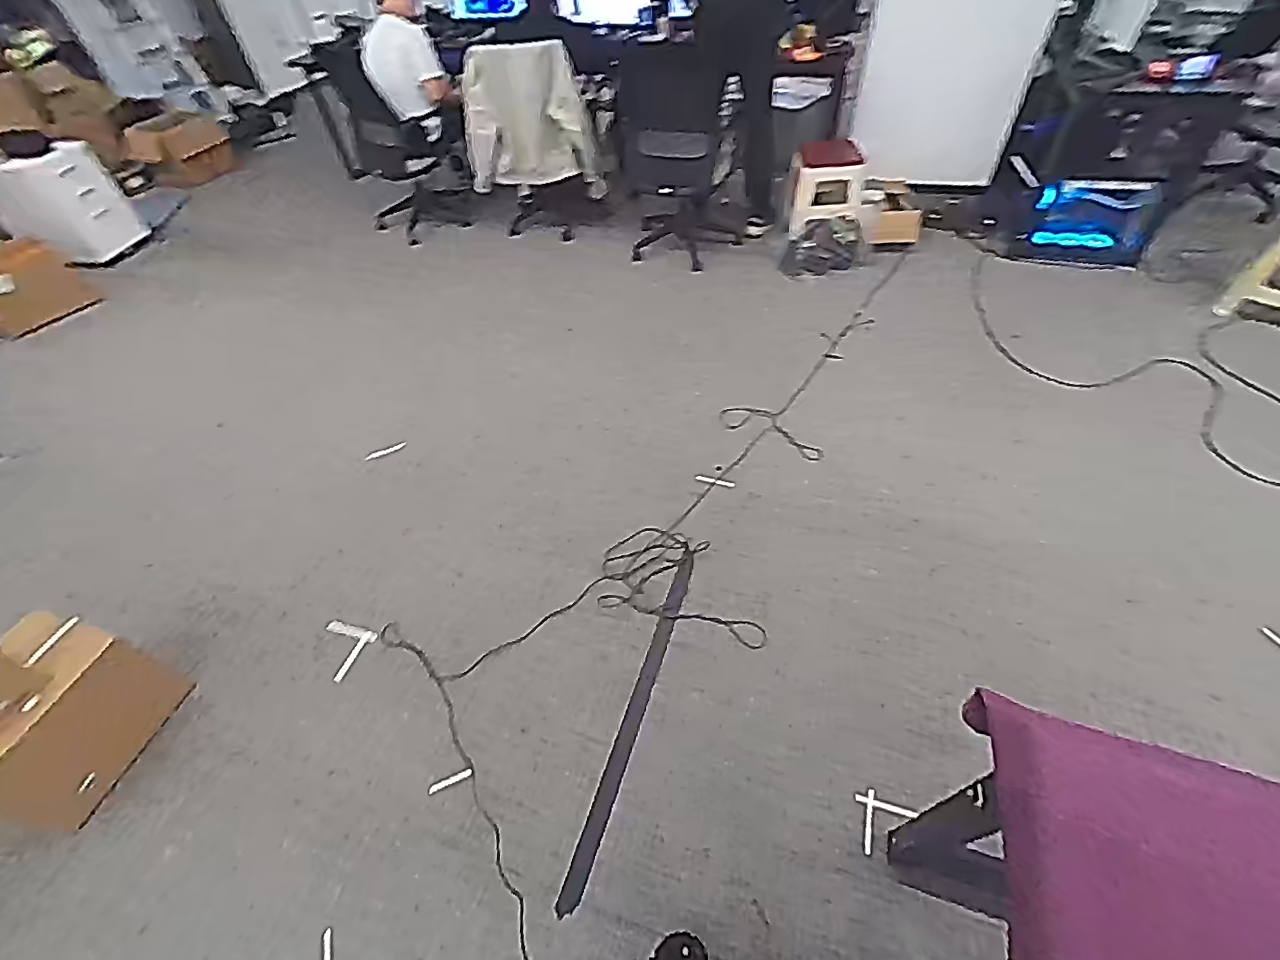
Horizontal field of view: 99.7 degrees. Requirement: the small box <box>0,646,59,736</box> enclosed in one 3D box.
[{"bbox_3d":[-1.514,0.464,1.224,0.179,0.176,0.168,11,51,13],"label":"small box"}]
